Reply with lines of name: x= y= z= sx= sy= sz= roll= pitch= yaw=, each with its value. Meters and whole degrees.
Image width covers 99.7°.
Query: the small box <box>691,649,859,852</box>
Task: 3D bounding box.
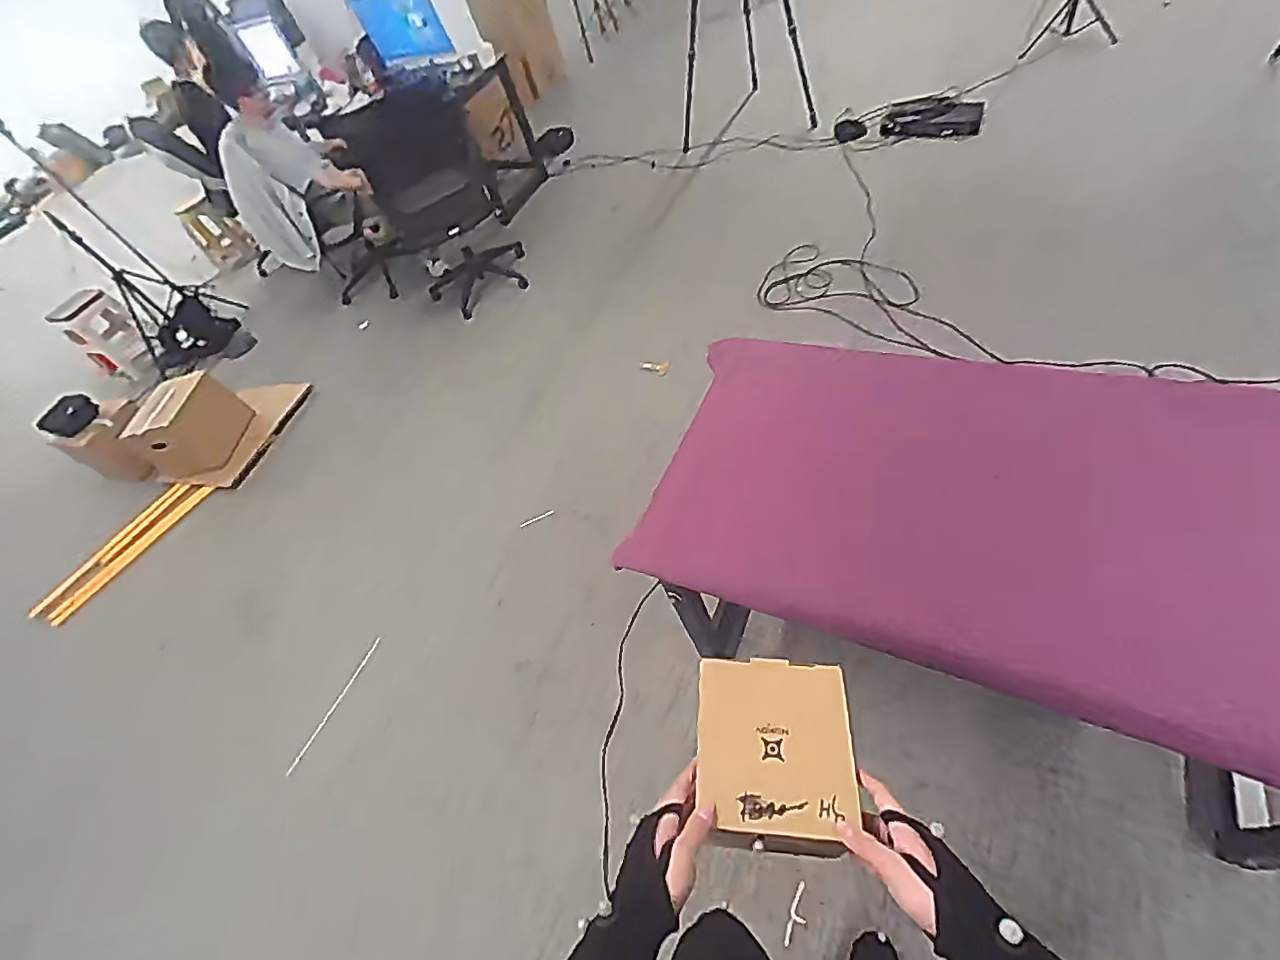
small box: x=0.149 y=0.323 z=0.645 sx=0.168 sy=0.176 sz=0.179 roll=1 pitch=52 yaw=9
